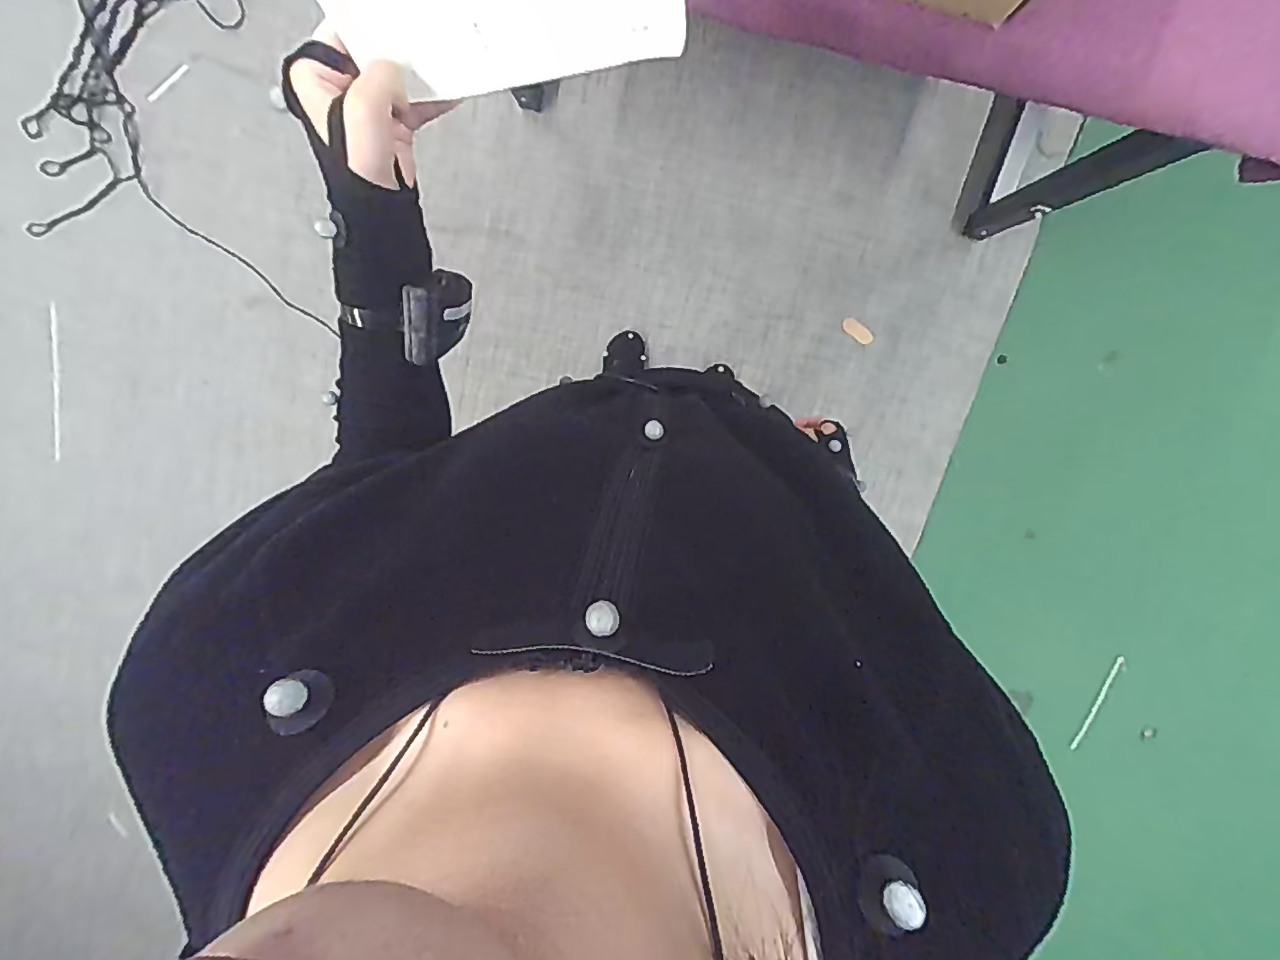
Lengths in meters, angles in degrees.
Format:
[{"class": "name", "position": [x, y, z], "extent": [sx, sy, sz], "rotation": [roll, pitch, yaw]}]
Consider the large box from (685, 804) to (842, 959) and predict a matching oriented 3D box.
[{"class": "large box", "position": [0.342, 1.213, 1.606], "extent": [0.408, 0.320, 0.320], "rotation": [1, 103, 3]}]

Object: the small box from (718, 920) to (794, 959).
[{"class": "small box", "position": [0.296, 1.265, 1.369], "extent": [0.179, 0.176, 0.168], "rotation": [4, 101, 4]}]
